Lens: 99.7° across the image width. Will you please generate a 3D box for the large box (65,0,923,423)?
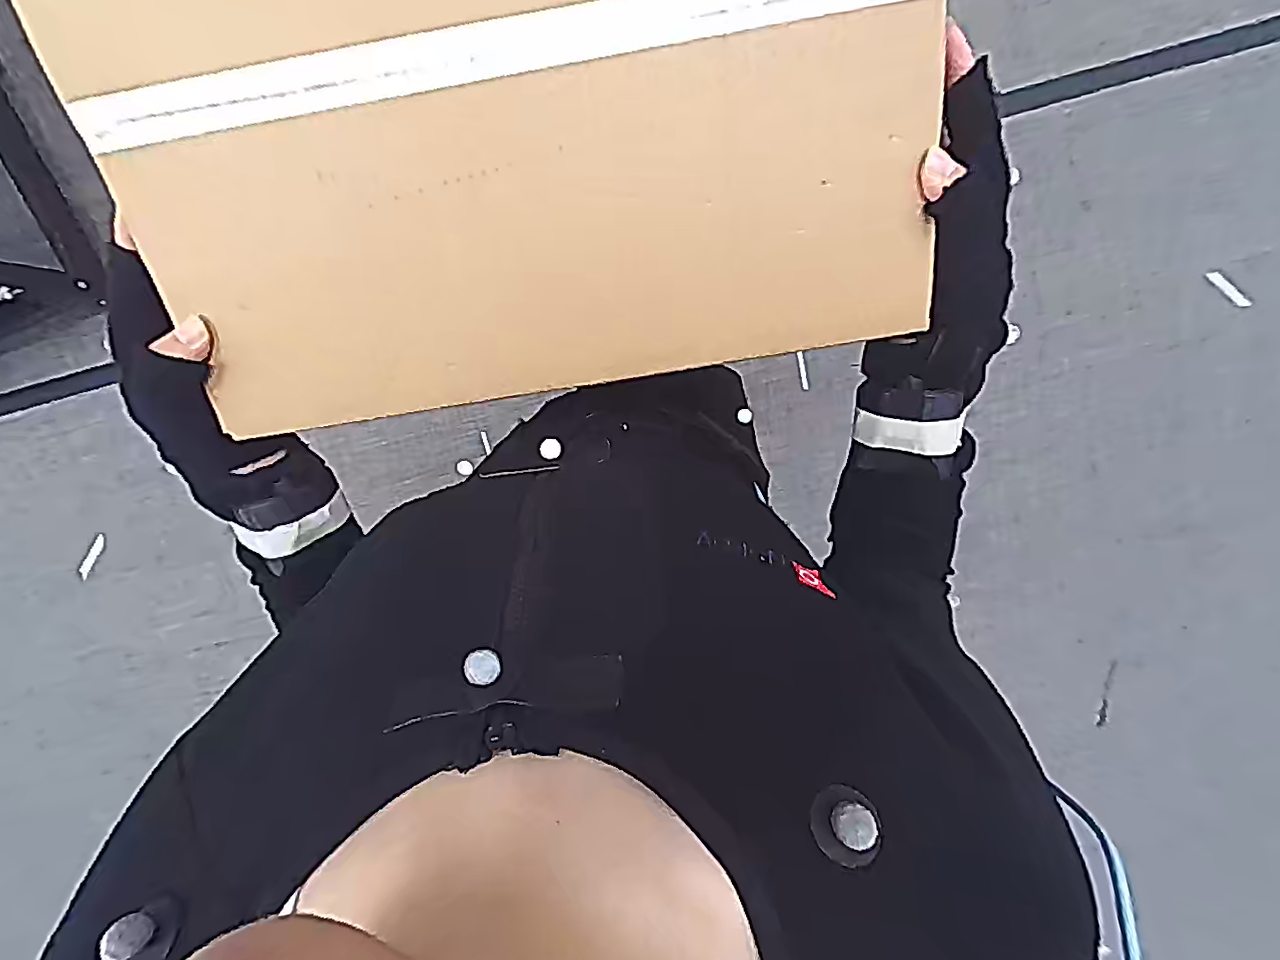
[{"bbox_3d":[-0.067,-0.261,0.398,0.408,0.320,0.320,-9,113,2],"label":"large box"}]
